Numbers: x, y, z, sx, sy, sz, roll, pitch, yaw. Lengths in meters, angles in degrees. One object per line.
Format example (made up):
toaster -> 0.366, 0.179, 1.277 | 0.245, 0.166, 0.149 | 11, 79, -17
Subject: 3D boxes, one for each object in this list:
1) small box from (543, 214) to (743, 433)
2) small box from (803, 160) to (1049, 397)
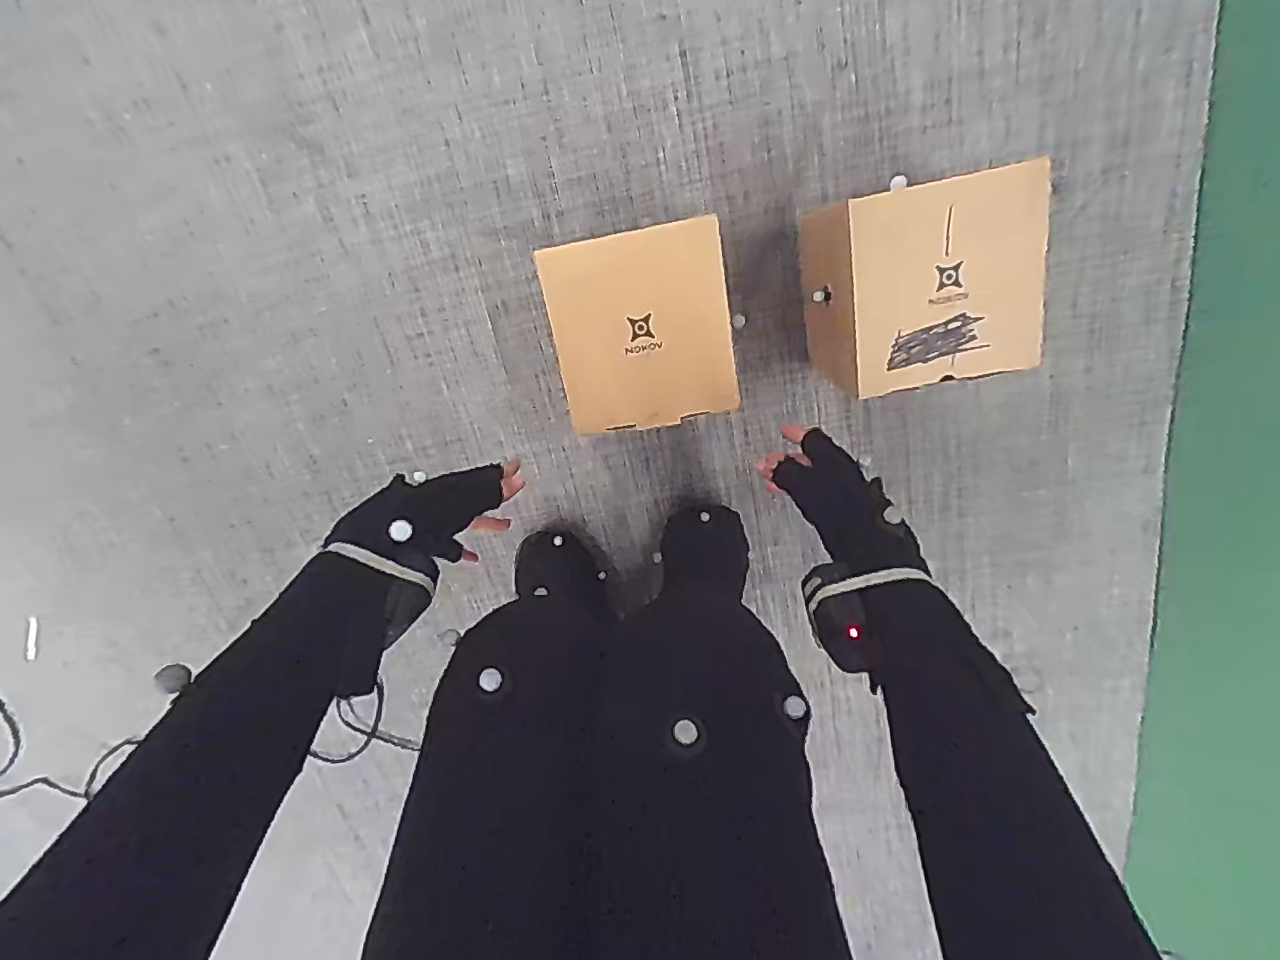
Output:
small box -> 0.007, -0.165, 0.576 | 0.168, 0.176, 0.179 | -9, 110, 5
small box -> 0.274, -0.199, 0.554 | 0.168, 0.176, 0.179 | -10, 109, 6
